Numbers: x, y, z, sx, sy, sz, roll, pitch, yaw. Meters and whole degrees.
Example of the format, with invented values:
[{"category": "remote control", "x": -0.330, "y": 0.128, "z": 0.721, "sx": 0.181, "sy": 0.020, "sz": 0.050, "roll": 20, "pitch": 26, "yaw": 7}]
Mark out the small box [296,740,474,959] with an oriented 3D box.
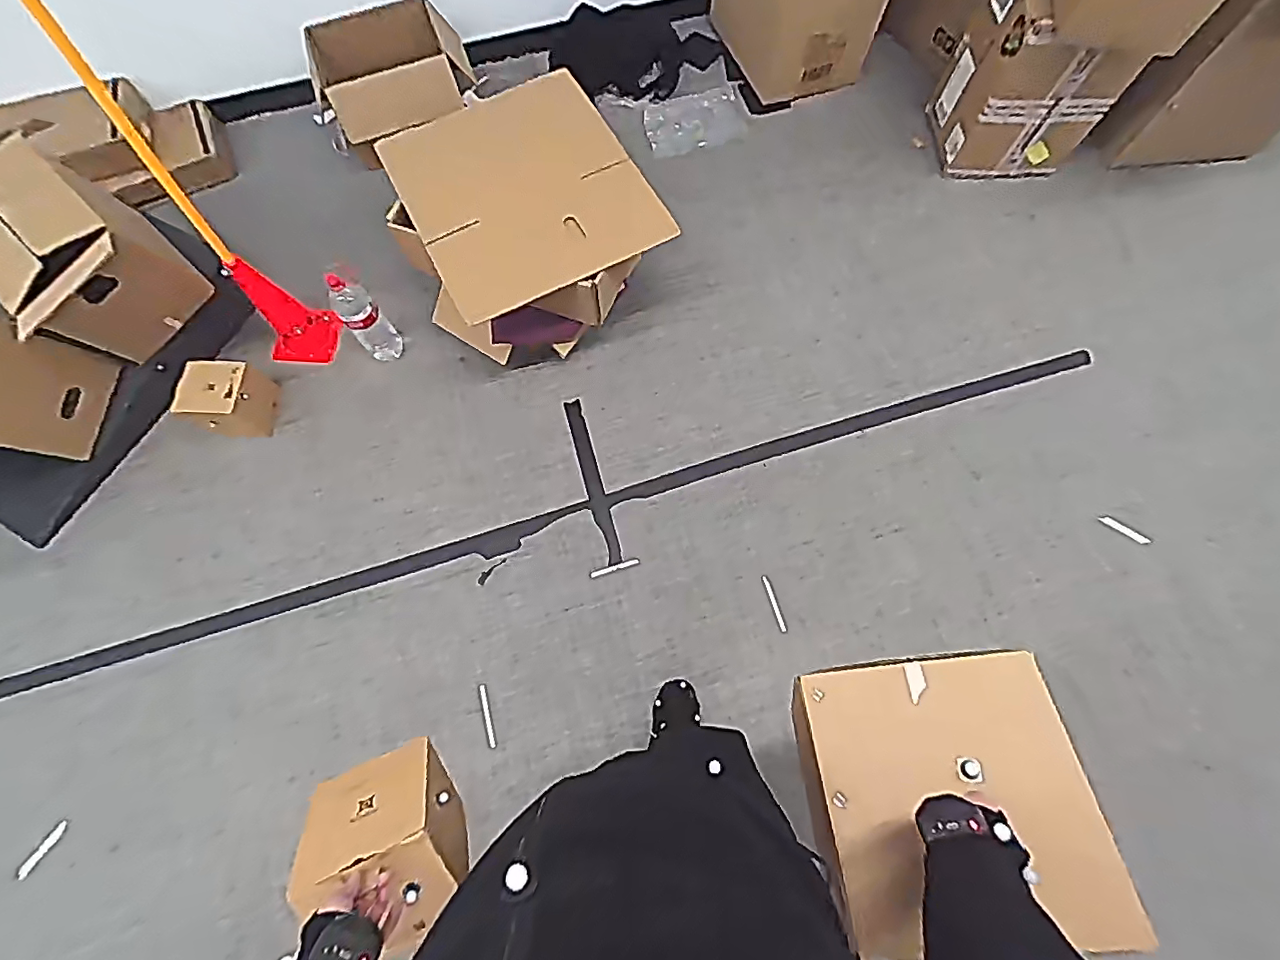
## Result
[{"category": "small box", "x": -0.344, "y": 0.522, "z": 0.765, "sx": 0.168, "sy": 0.179, "sz": 0.176, "roll": -20, "pitch": 111, "yaw": -13}]
